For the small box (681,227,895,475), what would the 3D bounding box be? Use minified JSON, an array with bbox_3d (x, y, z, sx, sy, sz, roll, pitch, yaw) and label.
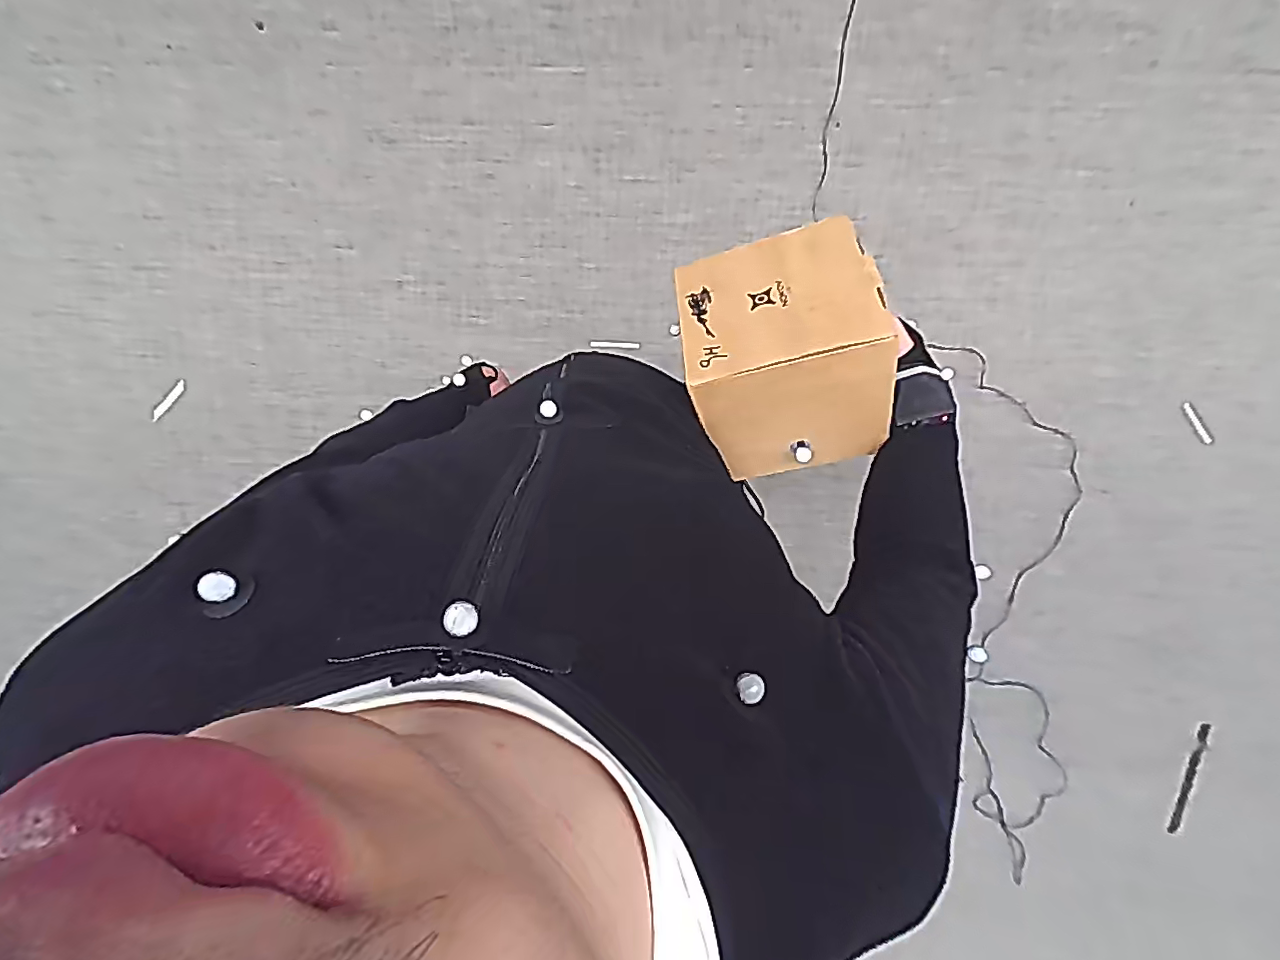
[{"bbox_3d":[0.151,-0.127,0.576,0.179,0.168,0.176,-12,145,14],"label":"small box"}]
